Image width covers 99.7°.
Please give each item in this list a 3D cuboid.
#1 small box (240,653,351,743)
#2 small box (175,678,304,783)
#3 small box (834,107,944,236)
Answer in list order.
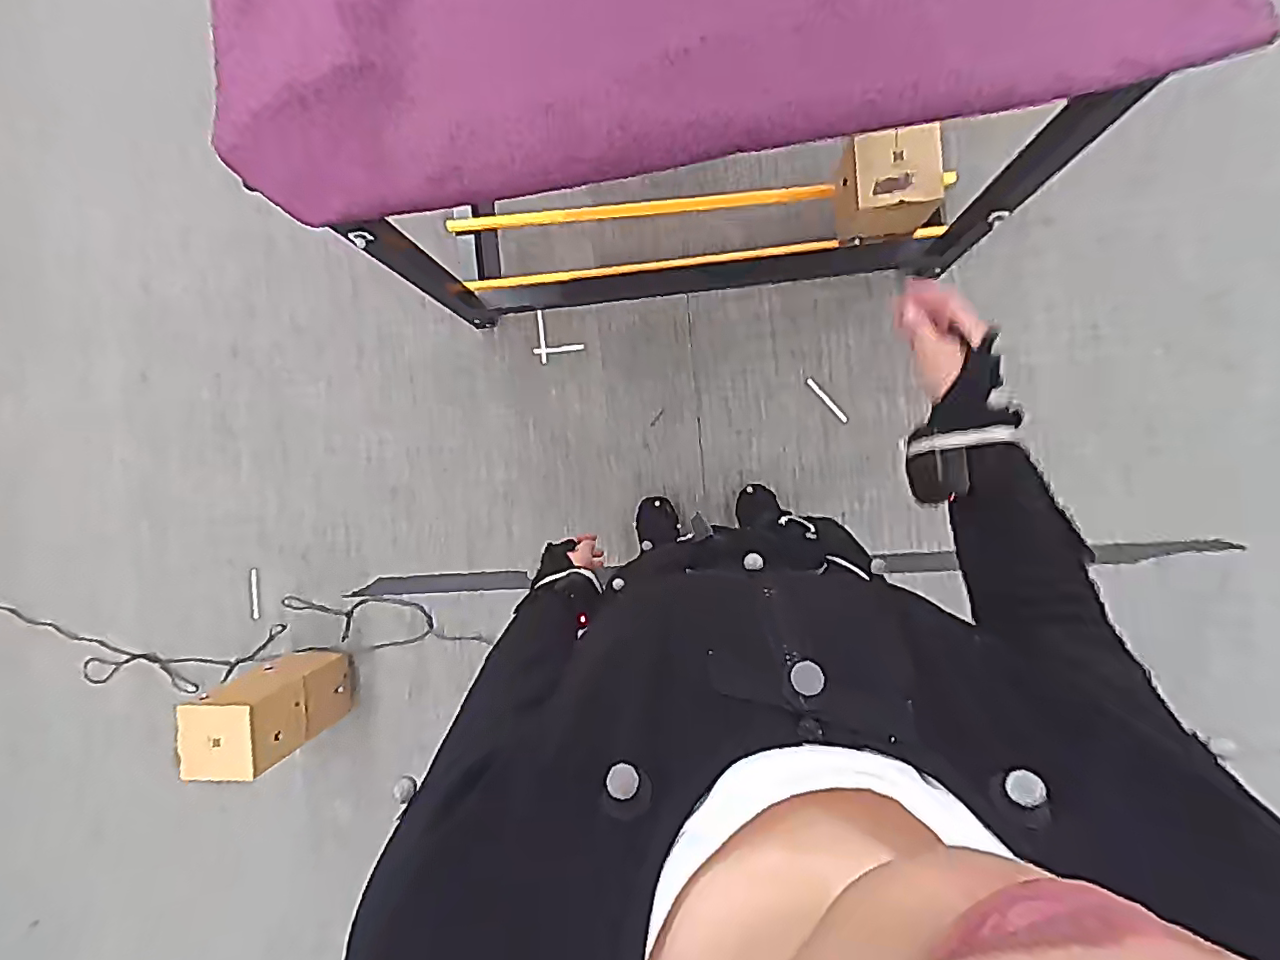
[{"bbox_3d":[-0.880,0.554,1.391,0.179,0.176,0.168,-3,92,5],"label":"small box"},{"bbox_3d":[-0.896,0.561,1.229,0.179,0.176,0.168,-3,92,7],"label":"small box"},{"bbox_3d":[0.515,-0.633,1.137,0.168,0.176,0.179,-4,89,7],"label":"small box"}]
